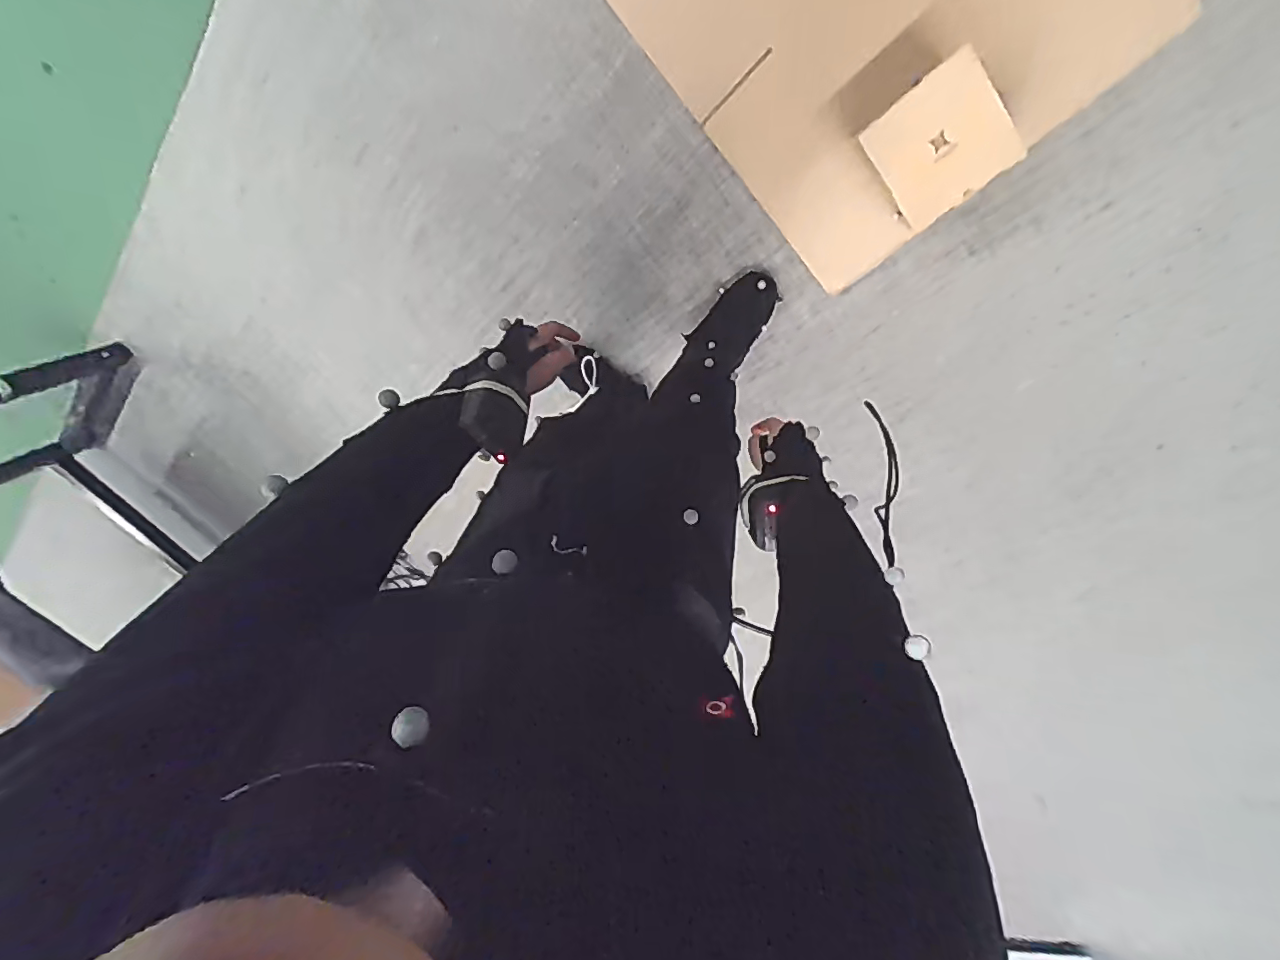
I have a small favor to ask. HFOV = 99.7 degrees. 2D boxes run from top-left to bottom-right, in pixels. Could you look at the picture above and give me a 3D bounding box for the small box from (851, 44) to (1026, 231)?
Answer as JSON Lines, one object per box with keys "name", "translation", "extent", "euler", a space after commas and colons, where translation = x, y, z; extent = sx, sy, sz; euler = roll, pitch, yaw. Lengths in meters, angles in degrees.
{"name": "small box", "translation": [0.452, -0.524, 0.849], "extent": [0.168, 0.176, 0.179], "euler": [-33, 107, 29]}
